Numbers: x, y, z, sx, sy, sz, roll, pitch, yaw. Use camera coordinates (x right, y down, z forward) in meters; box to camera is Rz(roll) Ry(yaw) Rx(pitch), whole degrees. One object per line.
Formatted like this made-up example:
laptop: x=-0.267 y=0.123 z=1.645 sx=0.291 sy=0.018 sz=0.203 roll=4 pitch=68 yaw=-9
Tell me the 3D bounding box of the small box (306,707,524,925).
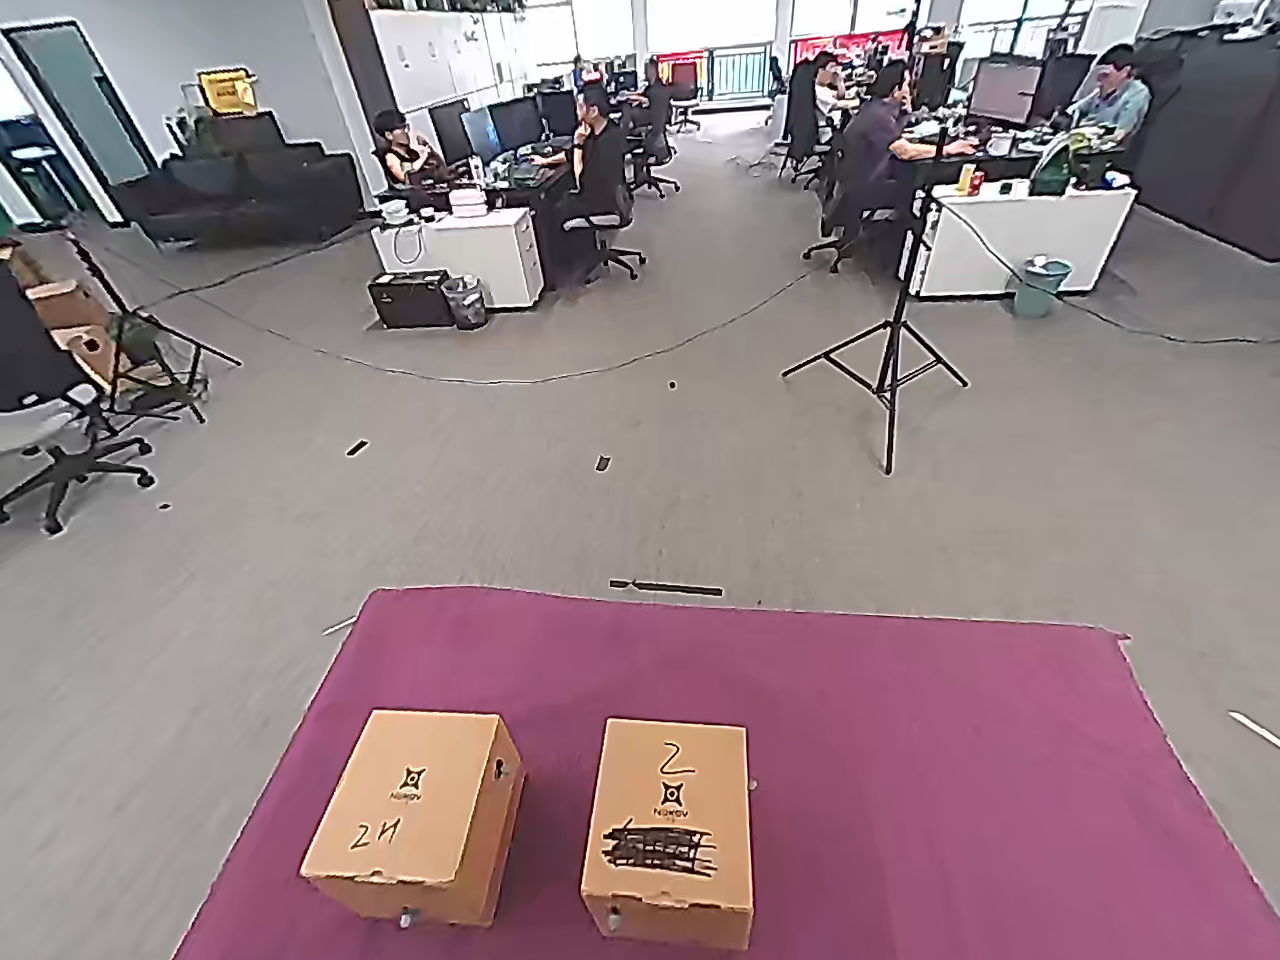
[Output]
small box: x=-0.247 y=0.400 z=0.650 sx=0.168 sy=0.176 sz=0.179 roll=0 pitch=40 yaw=5
